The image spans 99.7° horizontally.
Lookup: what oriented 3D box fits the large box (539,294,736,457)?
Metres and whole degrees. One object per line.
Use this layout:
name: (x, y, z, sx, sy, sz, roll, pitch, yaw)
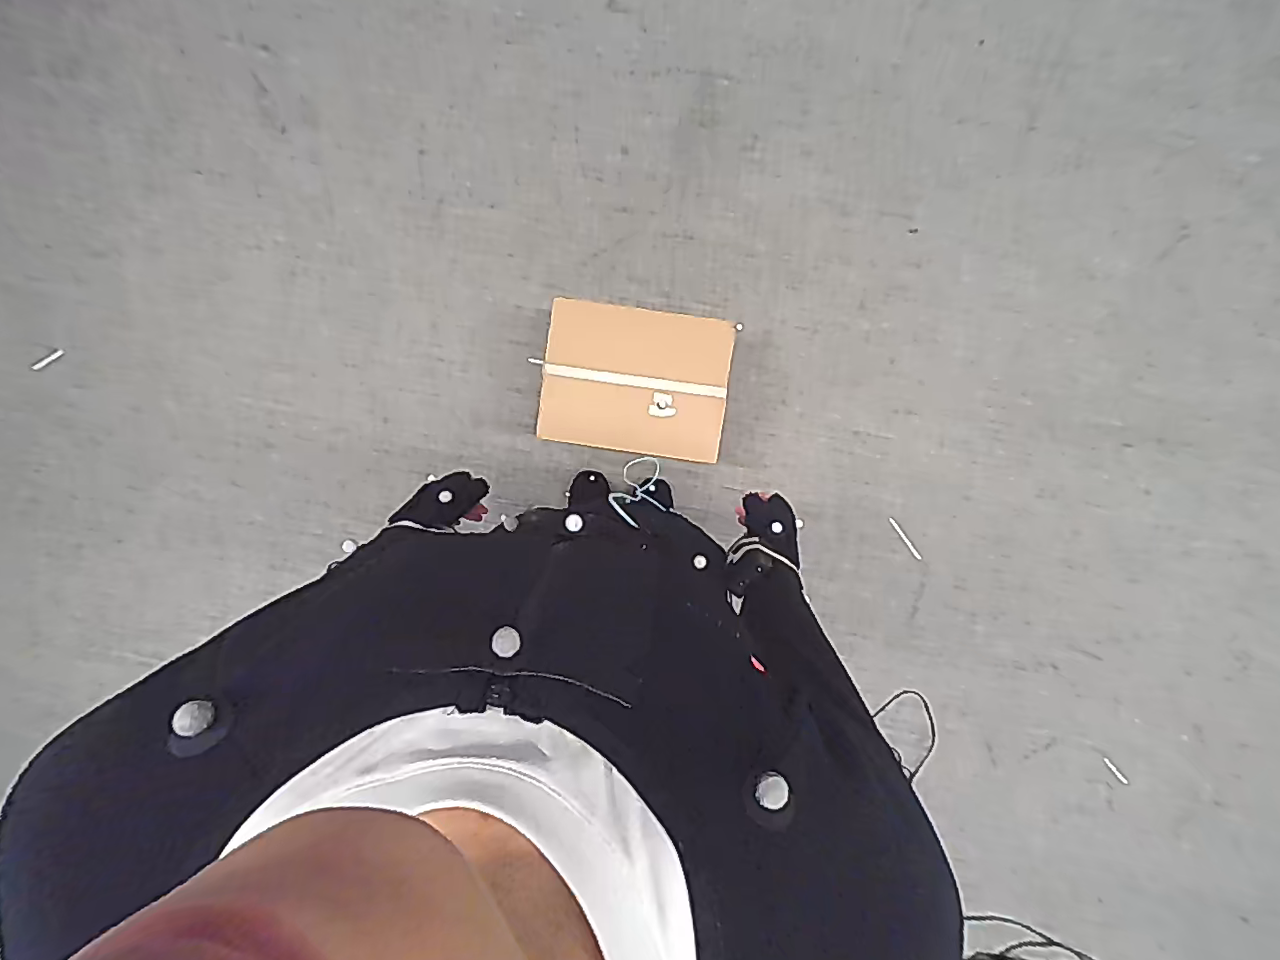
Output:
large box: (-0.007, -0.234, 1.325, 0.408, 0.320, 0.320, 9, 93, 0)
